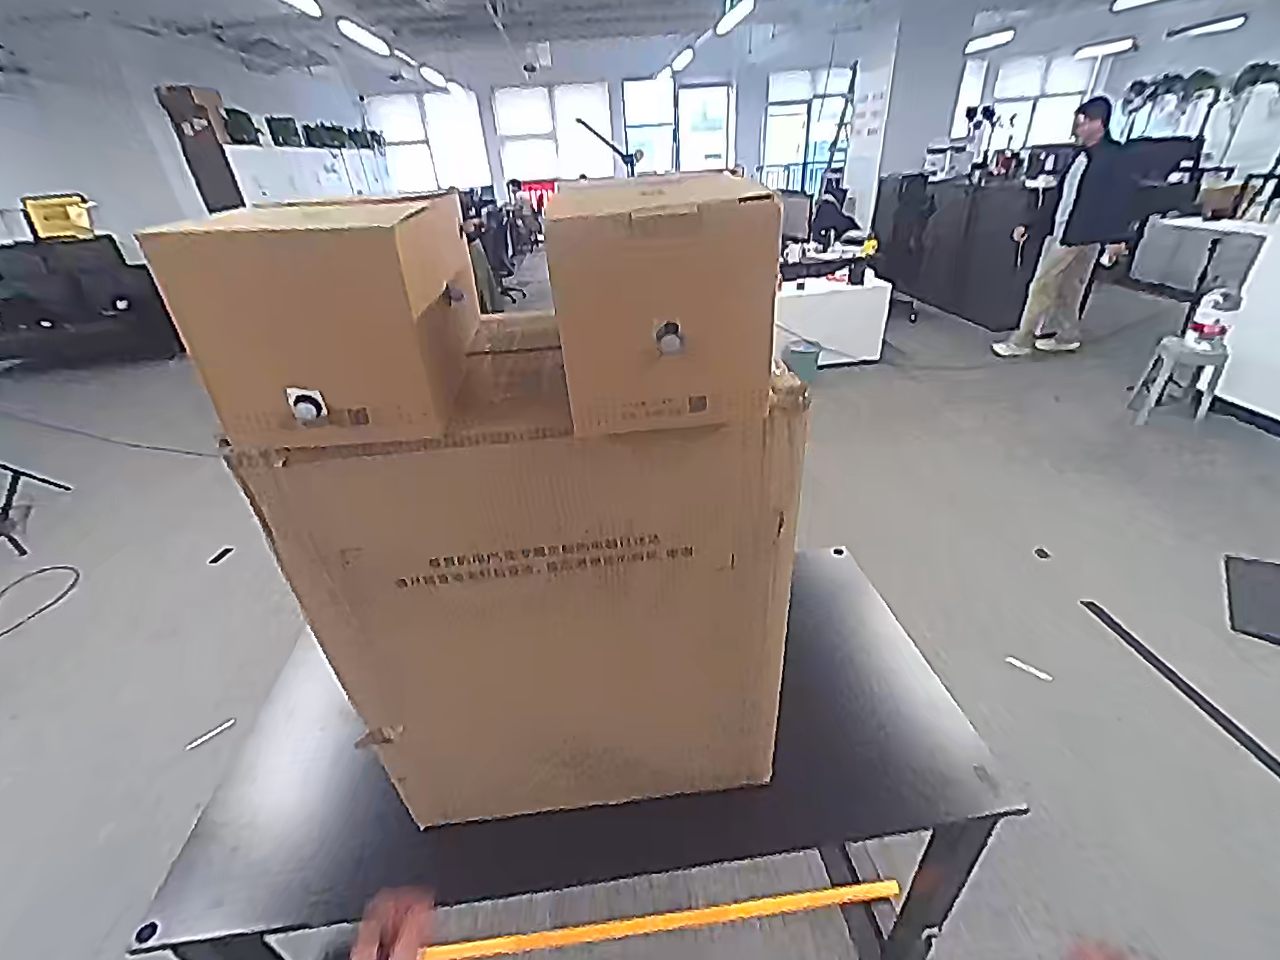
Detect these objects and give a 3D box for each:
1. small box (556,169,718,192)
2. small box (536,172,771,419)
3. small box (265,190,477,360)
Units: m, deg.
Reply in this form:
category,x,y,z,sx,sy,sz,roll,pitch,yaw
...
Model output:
category,x,y,z,sx,sy,sz,roll,pitch,yaw
small box,-0.007,-0.267,0.645,0.168,0.176,0.179,-9,31,-5
small box,0.012,-0.161,0.477,0.168,0.176,0.179,-6,33,-1
small box,-0.301,-0.252,0.654,0.168,0.176,0.179,-7,30,-5
